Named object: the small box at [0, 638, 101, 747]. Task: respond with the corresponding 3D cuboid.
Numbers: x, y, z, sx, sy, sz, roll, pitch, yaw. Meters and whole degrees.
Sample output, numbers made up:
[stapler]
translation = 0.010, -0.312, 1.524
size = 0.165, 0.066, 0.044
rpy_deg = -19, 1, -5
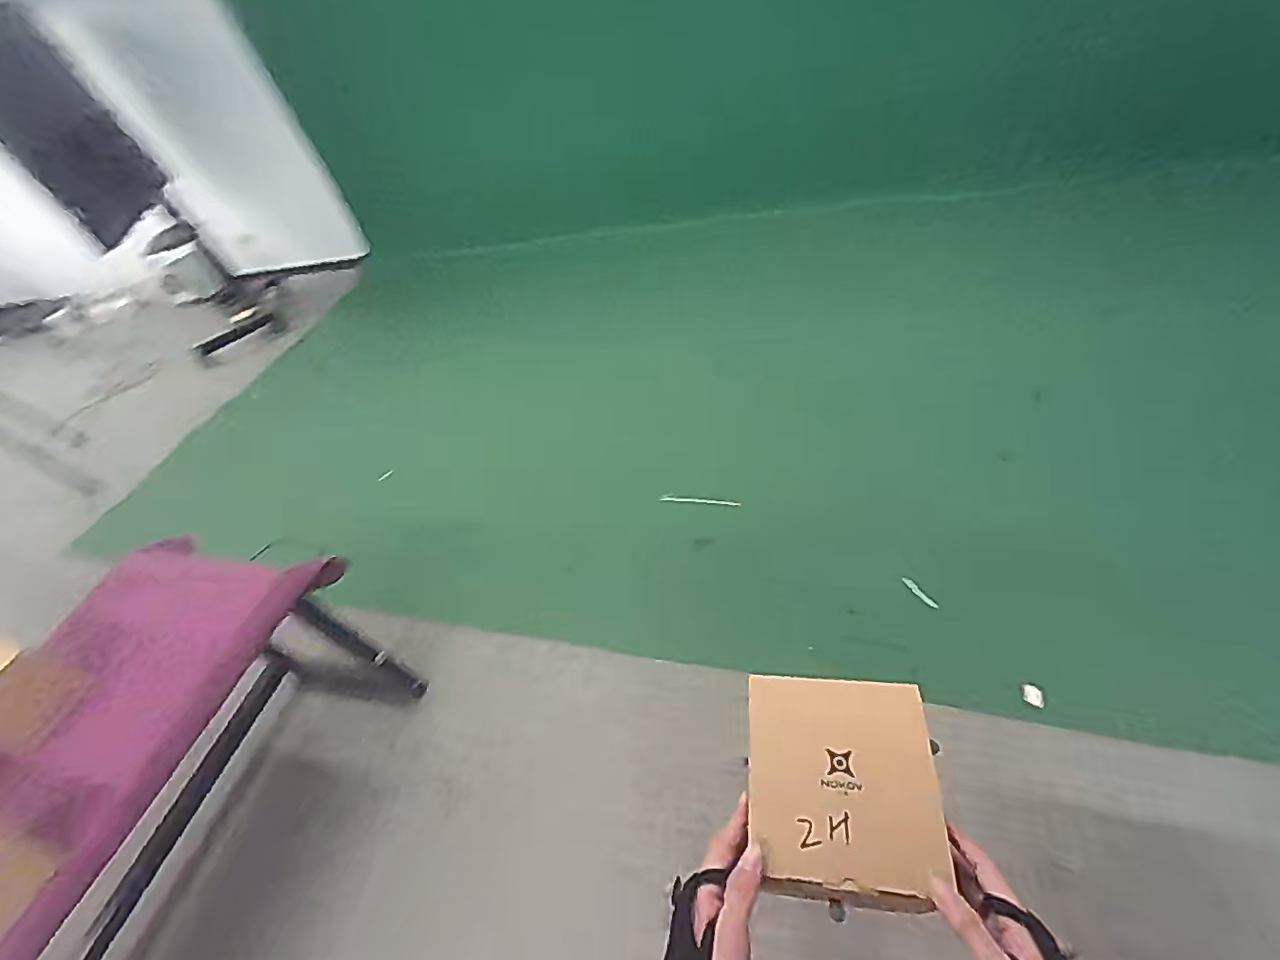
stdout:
[small box]
translation = -1.358, 0.460, 1.170
size = 0.179, 0.176, 0.168
rpy_deg = 2, 50, 18
